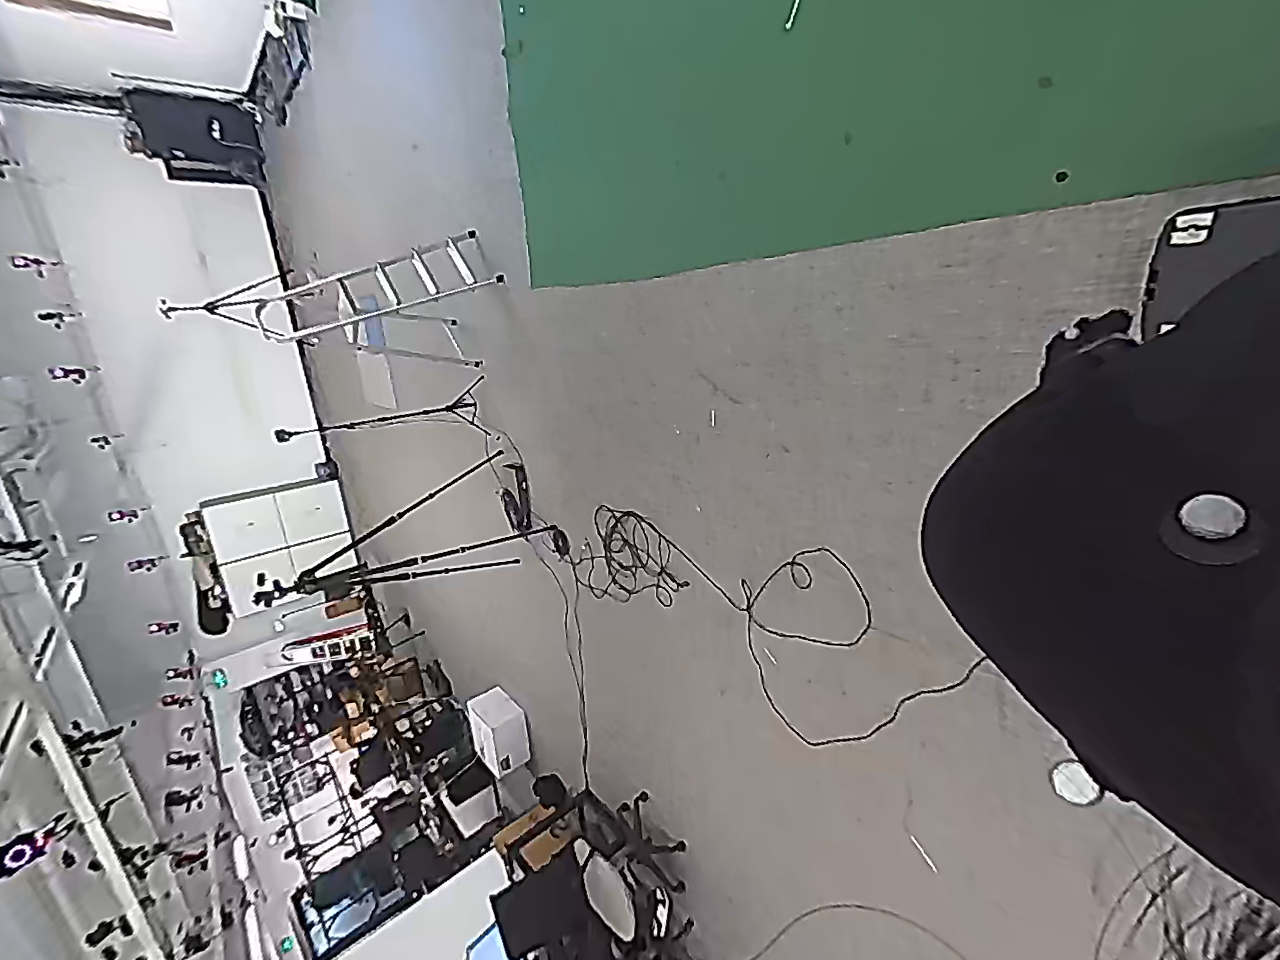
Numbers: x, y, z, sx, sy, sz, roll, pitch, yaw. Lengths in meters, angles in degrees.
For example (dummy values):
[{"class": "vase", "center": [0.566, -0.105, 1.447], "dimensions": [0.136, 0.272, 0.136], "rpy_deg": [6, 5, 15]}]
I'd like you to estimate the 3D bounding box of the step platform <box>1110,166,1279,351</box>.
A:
[{"class": "step platform", "center": [1.141, -0.345, 0.775], "dimensions": [0.684, 0.204, 0.286], "rpy_deg": [14, 116, 48]}]
